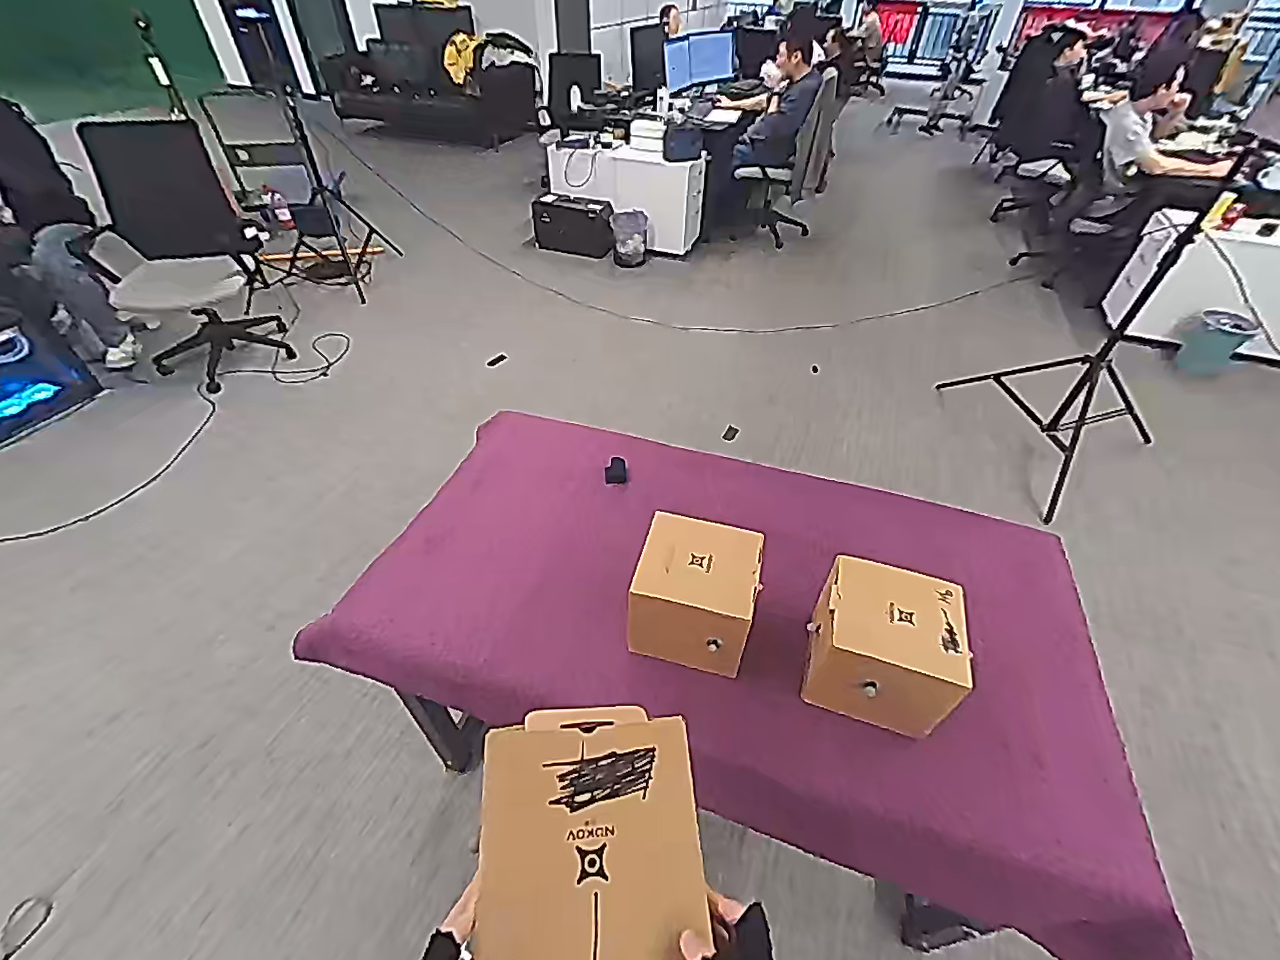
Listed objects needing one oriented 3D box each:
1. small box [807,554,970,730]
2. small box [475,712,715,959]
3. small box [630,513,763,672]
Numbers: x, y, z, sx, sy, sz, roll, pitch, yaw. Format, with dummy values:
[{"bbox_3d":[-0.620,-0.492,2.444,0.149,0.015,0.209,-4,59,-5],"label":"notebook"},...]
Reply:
[{"bbox_3d":[0.355,0.240,0.800,0.179,0.176,0.168,13,45,14],"label":"small box"},{"bbox_3d":[-0.047,0.315,0.468,0.168,0.176,0.179,2,54,-10],"label":"small box"},{"bbox_3d":[0.089,0.181,0.858,0.179,0.176,0.168,10,43,10],"label":"small box"}]
